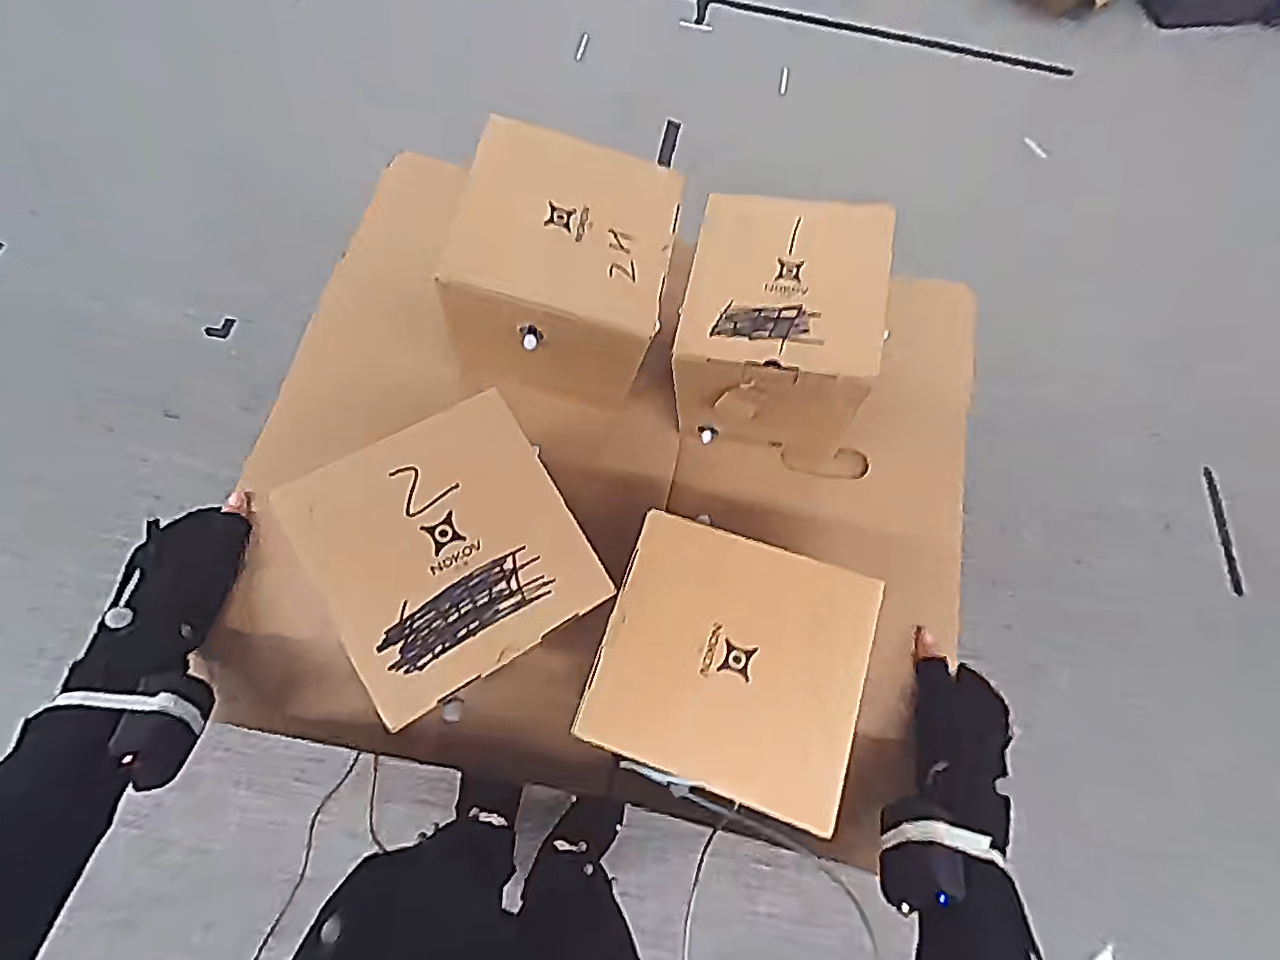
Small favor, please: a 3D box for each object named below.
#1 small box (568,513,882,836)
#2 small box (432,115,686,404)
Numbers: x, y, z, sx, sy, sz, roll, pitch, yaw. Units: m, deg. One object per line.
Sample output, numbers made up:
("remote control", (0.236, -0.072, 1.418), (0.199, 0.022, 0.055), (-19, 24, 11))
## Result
("small box", (0.067, 0.145, 0.442), (0.179, 0.176, 0.168), (17, 75, 12))
("small box", (-0.073, -0.189, 0.514), (0.179, 0.176, 0.168), (14, 75, -8))
